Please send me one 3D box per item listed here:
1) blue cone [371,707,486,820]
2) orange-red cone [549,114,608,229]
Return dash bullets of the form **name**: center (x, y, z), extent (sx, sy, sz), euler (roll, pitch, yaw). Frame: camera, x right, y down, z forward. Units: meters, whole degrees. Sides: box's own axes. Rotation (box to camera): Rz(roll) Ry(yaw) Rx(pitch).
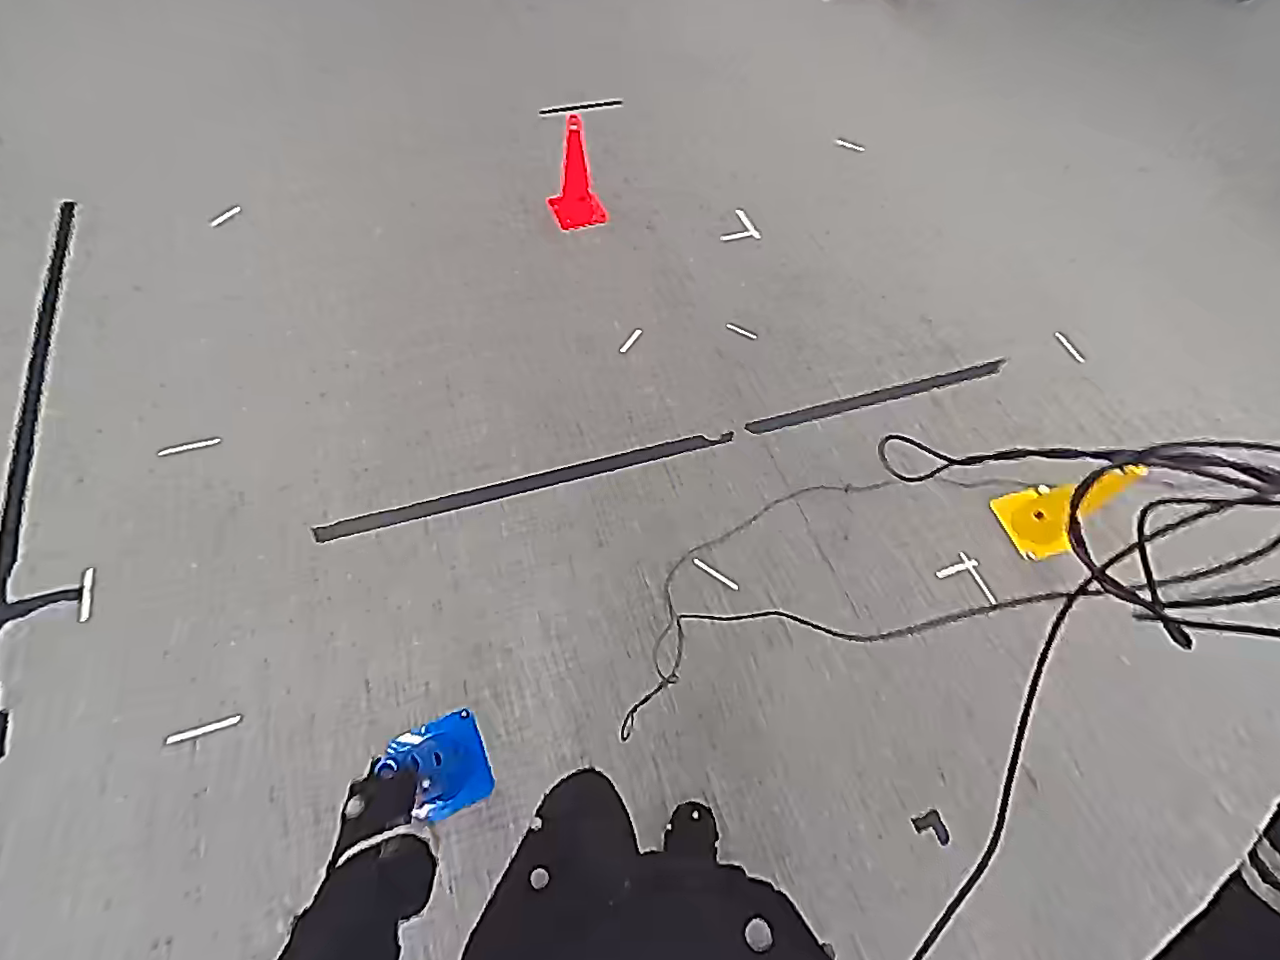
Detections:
- **blue cone**: center (-0.447, 0.565, 1.079), extent (0.193, 0.380, 0.192), euler (-20, 65, -14)
- **orange-red cone**: center (-0.235, -1.153, 1.993), extent (0.199, 0.360, 0.198), euler (-20, 65, -12)
